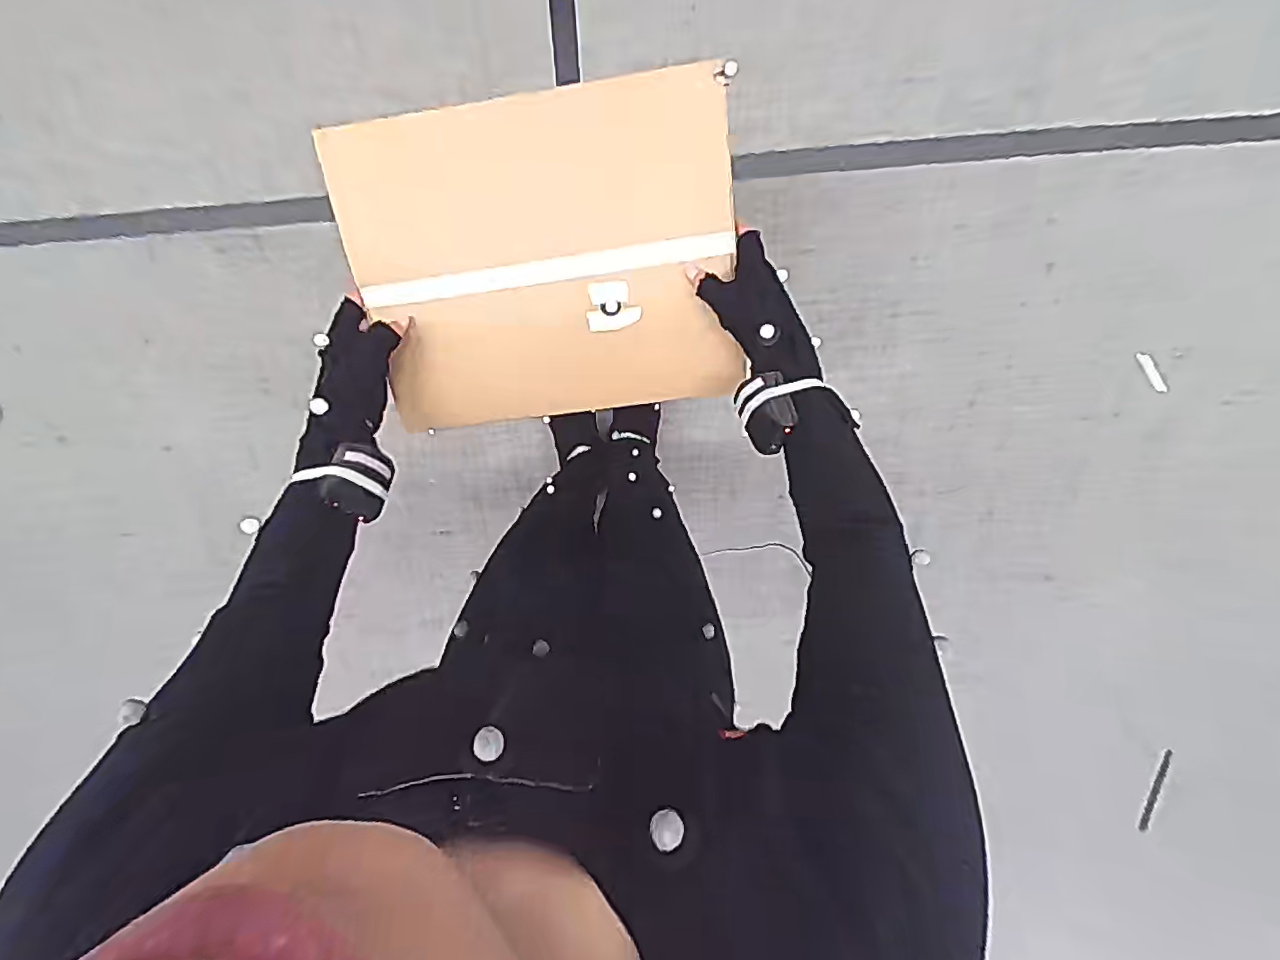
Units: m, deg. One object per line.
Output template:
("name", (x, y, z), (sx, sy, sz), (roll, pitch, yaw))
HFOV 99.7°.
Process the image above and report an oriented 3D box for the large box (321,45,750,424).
("large box", (-0.093, -0.286, 0.701), (0.408, 0.320, 0.320), (-7, 112, 4))
